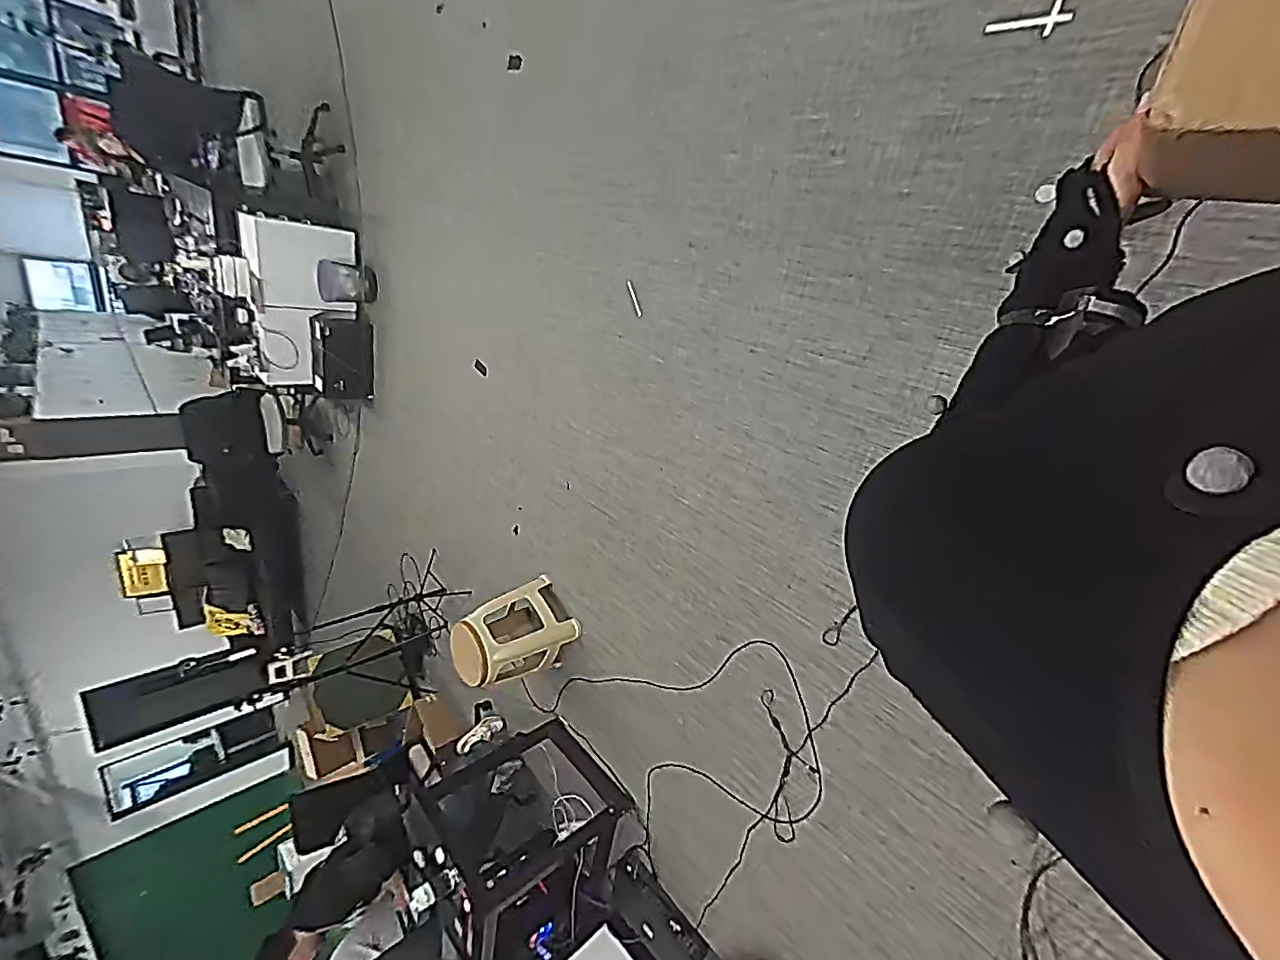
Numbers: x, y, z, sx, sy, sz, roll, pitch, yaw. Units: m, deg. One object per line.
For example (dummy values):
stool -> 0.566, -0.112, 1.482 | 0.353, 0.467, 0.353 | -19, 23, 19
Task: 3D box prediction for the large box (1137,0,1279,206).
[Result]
large box -> 0.481, -0.270, 0.173 | 0.408, 0.320, 0.320 | 24, 121, 33
